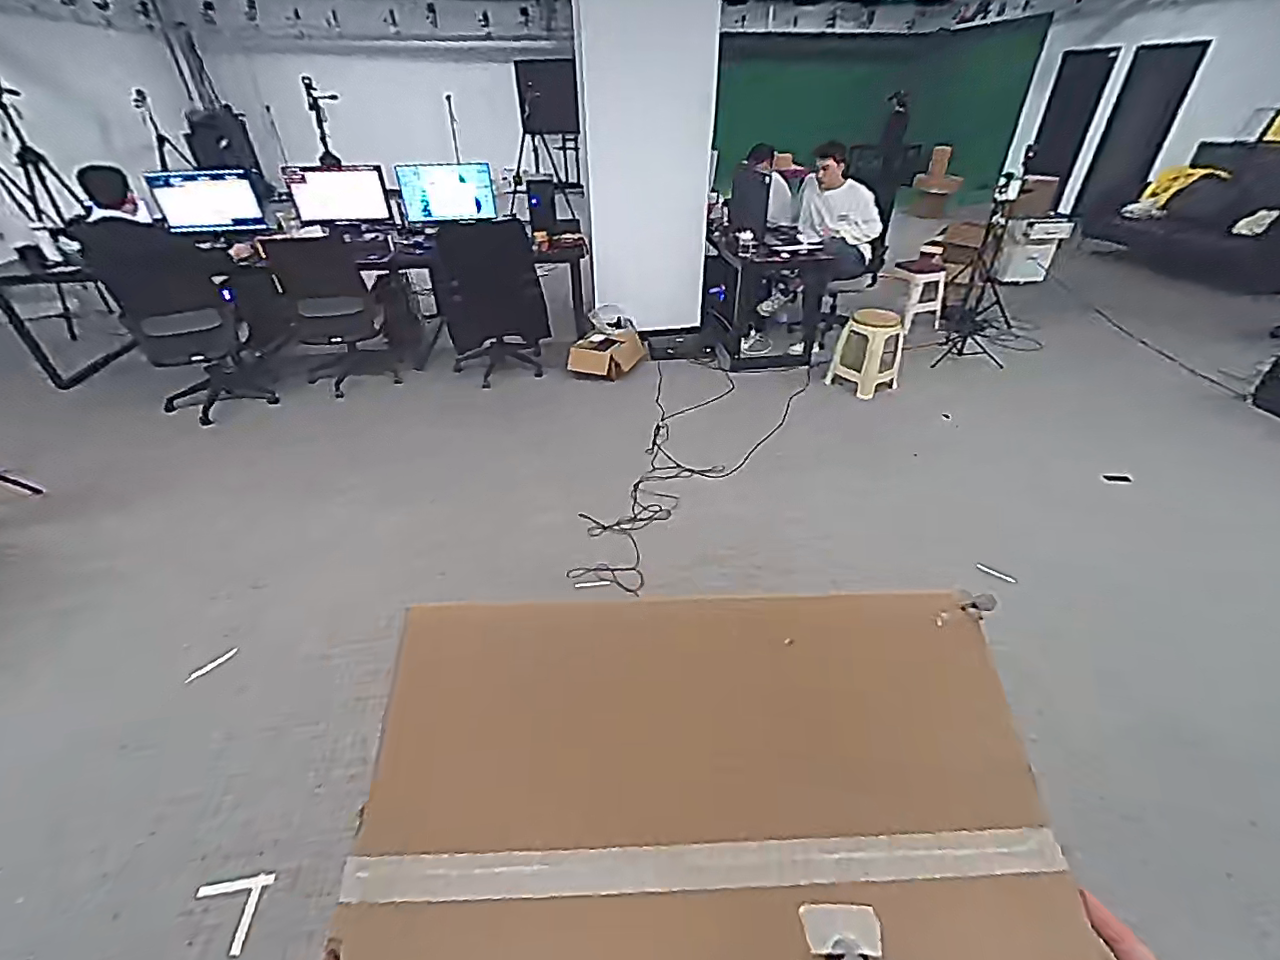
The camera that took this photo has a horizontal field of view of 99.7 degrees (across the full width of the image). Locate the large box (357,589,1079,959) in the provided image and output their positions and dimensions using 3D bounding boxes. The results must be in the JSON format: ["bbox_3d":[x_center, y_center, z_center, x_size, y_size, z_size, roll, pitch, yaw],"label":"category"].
[{"bbox_3d":[0.039,0.294,0.450,0.408,0.320,0.320,-1,60,-1],"label":"large box"}]
